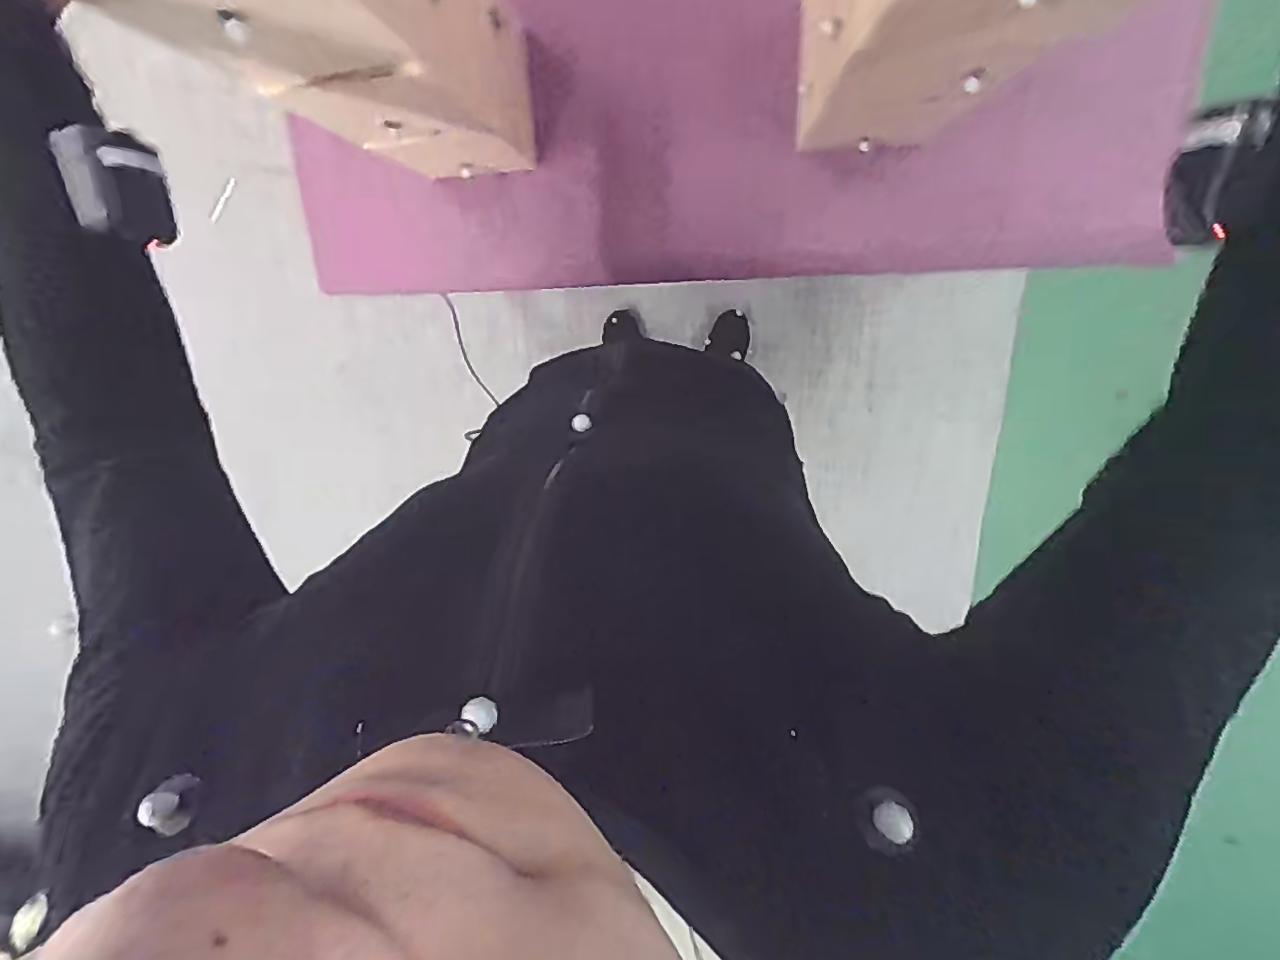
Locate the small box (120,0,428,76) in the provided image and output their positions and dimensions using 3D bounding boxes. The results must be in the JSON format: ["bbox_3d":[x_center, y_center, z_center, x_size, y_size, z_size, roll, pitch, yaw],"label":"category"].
[{"bbox_3d":[-0.281,-0.416,0.377,0.179,0.176,0.168,-2,107,9],"label":"small box"}]

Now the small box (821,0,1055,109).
[{"bbox_3d":[0.258,-0.446,0.466,0.168,0.176,0.179,0,107,8],"label":"small box"}]

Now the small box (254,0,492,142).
[{"bbox_3d":[-0.262,-0.463,0.533,0.168,0.176,0.179,-1,107,7],"label":"small box"}]

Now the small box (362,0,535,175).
[{"bbox_3d":[-0.242,-0.509,0.688,0.168,0.176,0.179,0,107,8],"label":"small box"}]
